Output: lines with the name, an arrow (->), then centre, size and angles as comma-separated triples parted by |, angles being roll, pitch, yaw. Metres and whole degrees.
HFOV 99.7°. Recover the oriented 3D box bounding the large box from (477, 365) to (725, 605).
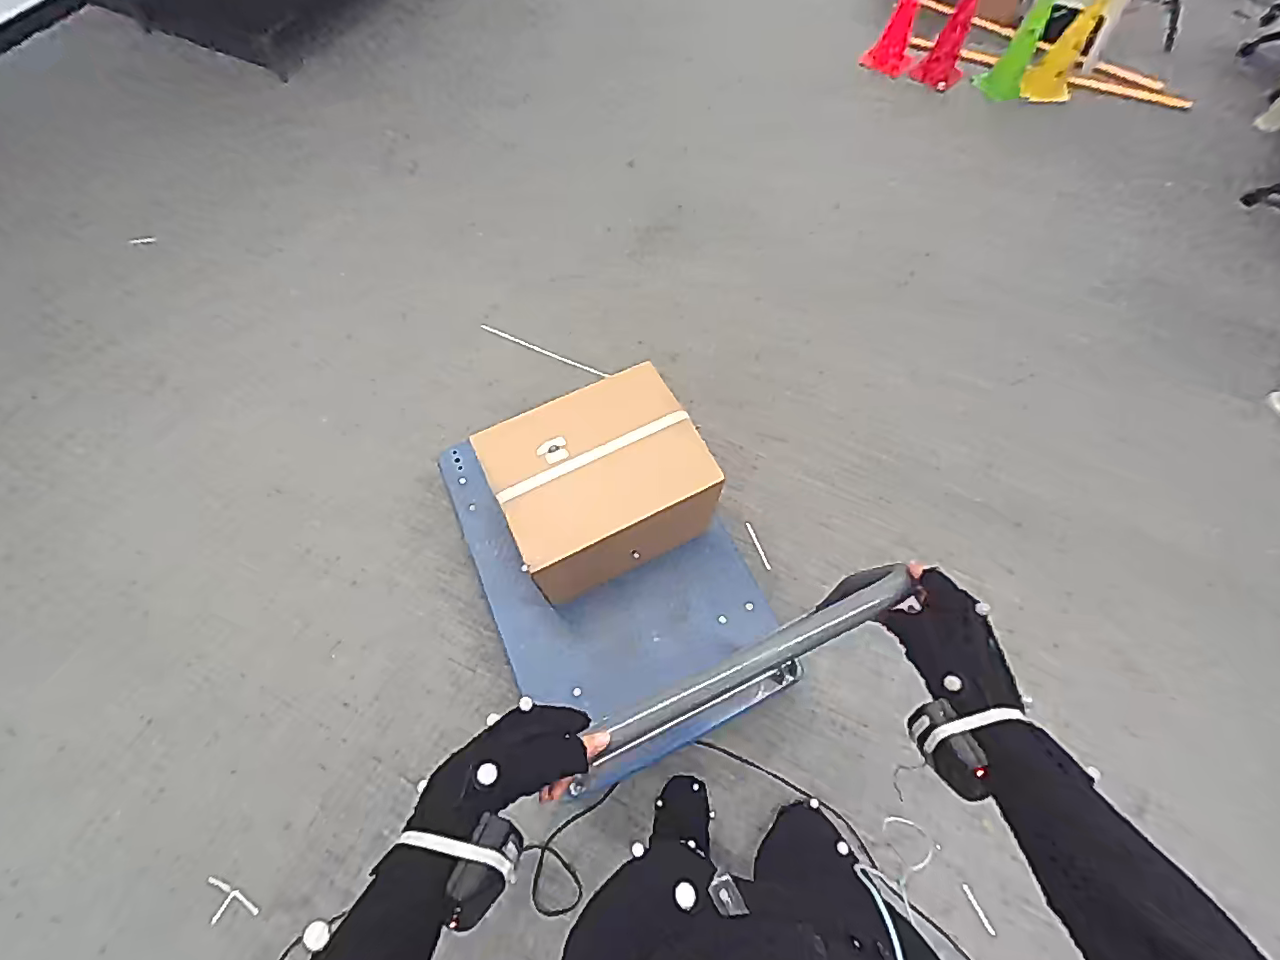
large box -> -0.077, 0.023, 1.187 | 0.408, 0.320, 0.320 | -27, 68, -11
